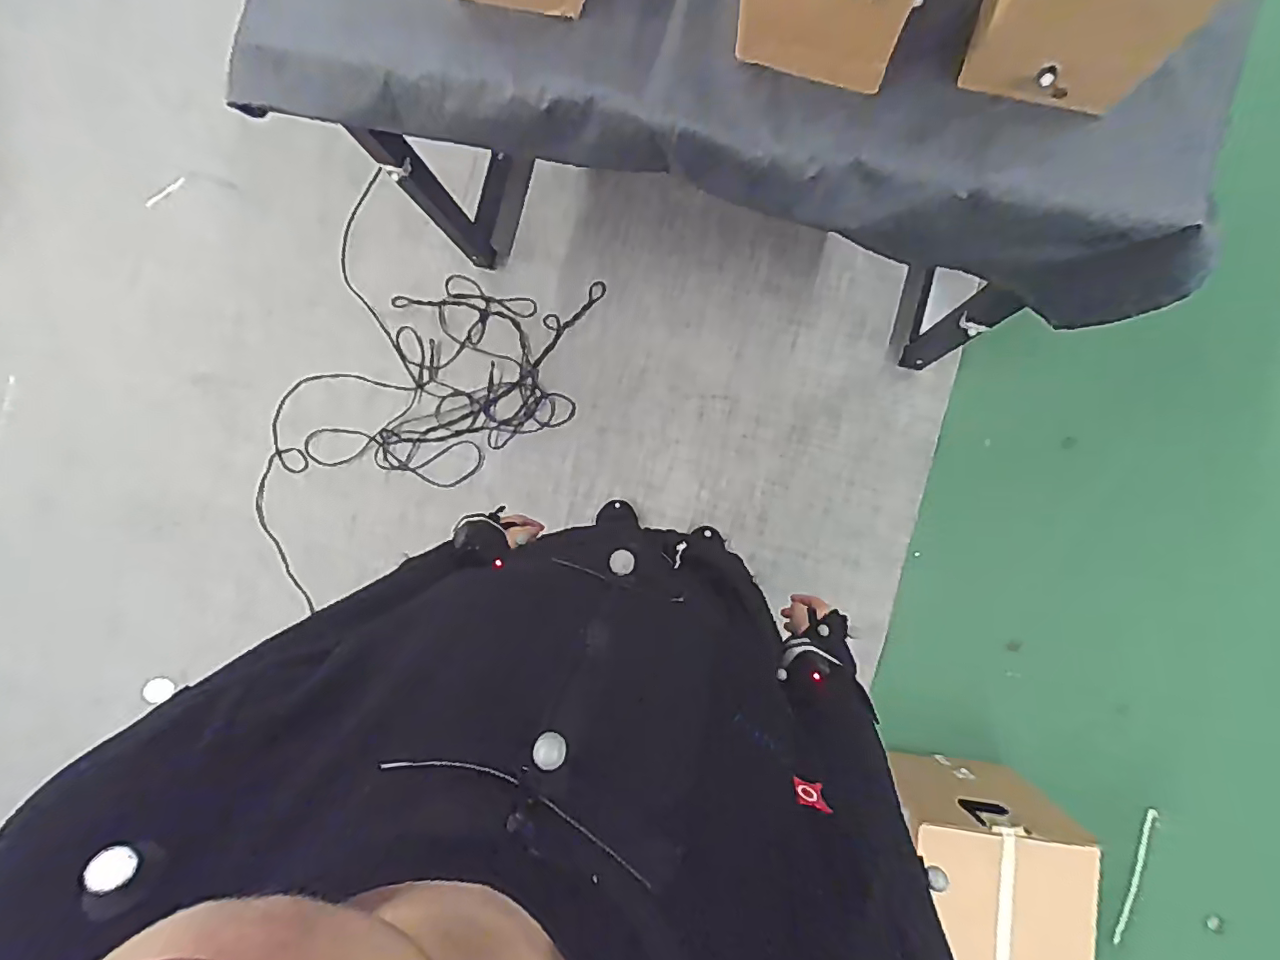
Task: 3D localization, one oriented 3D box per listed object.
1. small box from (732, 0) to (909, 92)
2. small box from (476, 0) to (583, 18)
[{"bbox_3d":[0.206,-0.555,0.566,0.179,0.176,0.168,20,89,5],"label":"small box"},{"bbox_3d":[-0.147,-0.672,0.602,0.179,0.176,0.168,16,90,5],"label":"small box"}]
